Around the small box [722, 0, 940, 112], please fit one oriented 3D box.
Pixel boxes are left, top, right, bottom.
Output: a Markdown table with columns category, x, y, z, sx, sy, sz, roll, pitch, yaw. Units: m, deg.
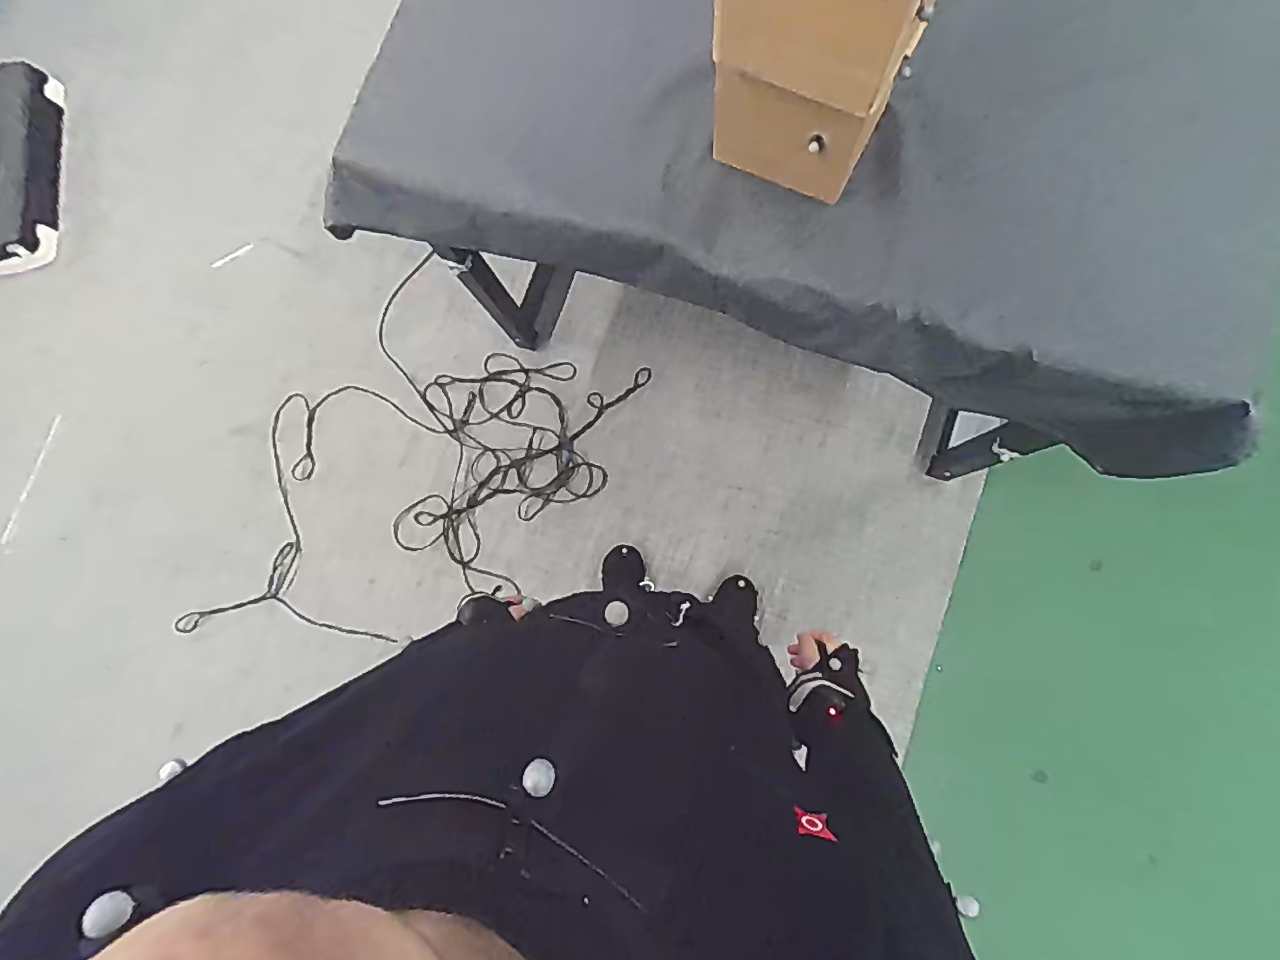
| category | x | y | z | sx | sy | sz | roll | pitch | yaw |
| --- | --- | --- | --- | --- | --- | --- | --- | --- | --- |
| small box | 0.184 | -0.474 | 0.474 | 0.179 | 0.176 | 0.168 | 28 | 84 | 9 |

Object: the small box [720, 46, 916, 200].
| category | x | y | z | sx | sy | sz | roll | pitch | yaw |
| --- | --- | --- | --- | --- | --- | --- | --- | --- | --- |
| small box | 0.208 | -0.468 | 0.636 | 0.179 | 0.176 | 0.168 | 26 | 84 | 10 |
